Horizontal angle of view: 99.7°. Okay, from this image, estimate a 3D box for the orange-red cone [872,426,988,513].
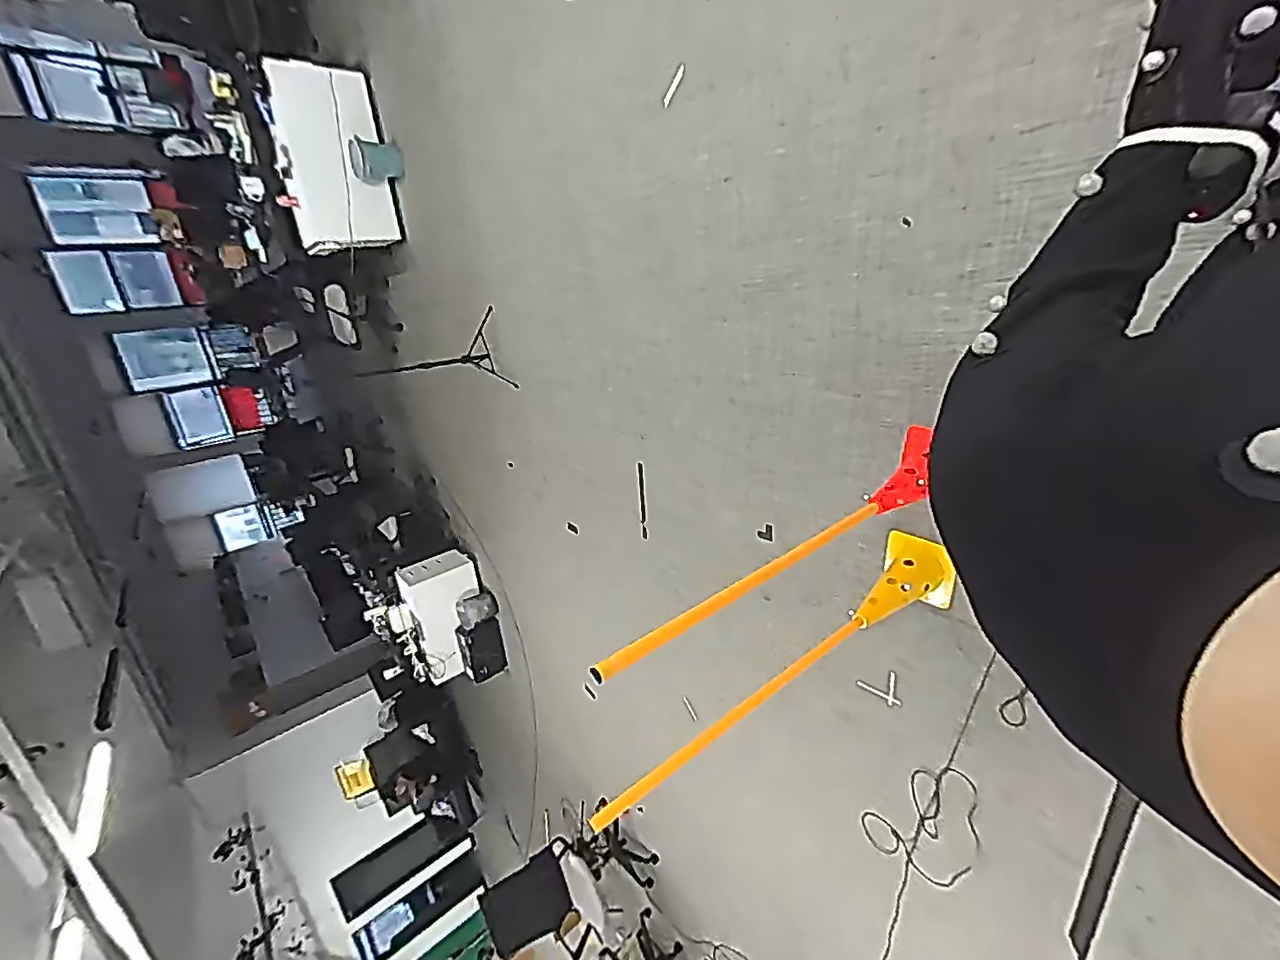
[{"bbox_3d":[0.692,0.009,1.371,0.198,0.360,0.199,26,125,43],"label":"orange-red cone"}]
